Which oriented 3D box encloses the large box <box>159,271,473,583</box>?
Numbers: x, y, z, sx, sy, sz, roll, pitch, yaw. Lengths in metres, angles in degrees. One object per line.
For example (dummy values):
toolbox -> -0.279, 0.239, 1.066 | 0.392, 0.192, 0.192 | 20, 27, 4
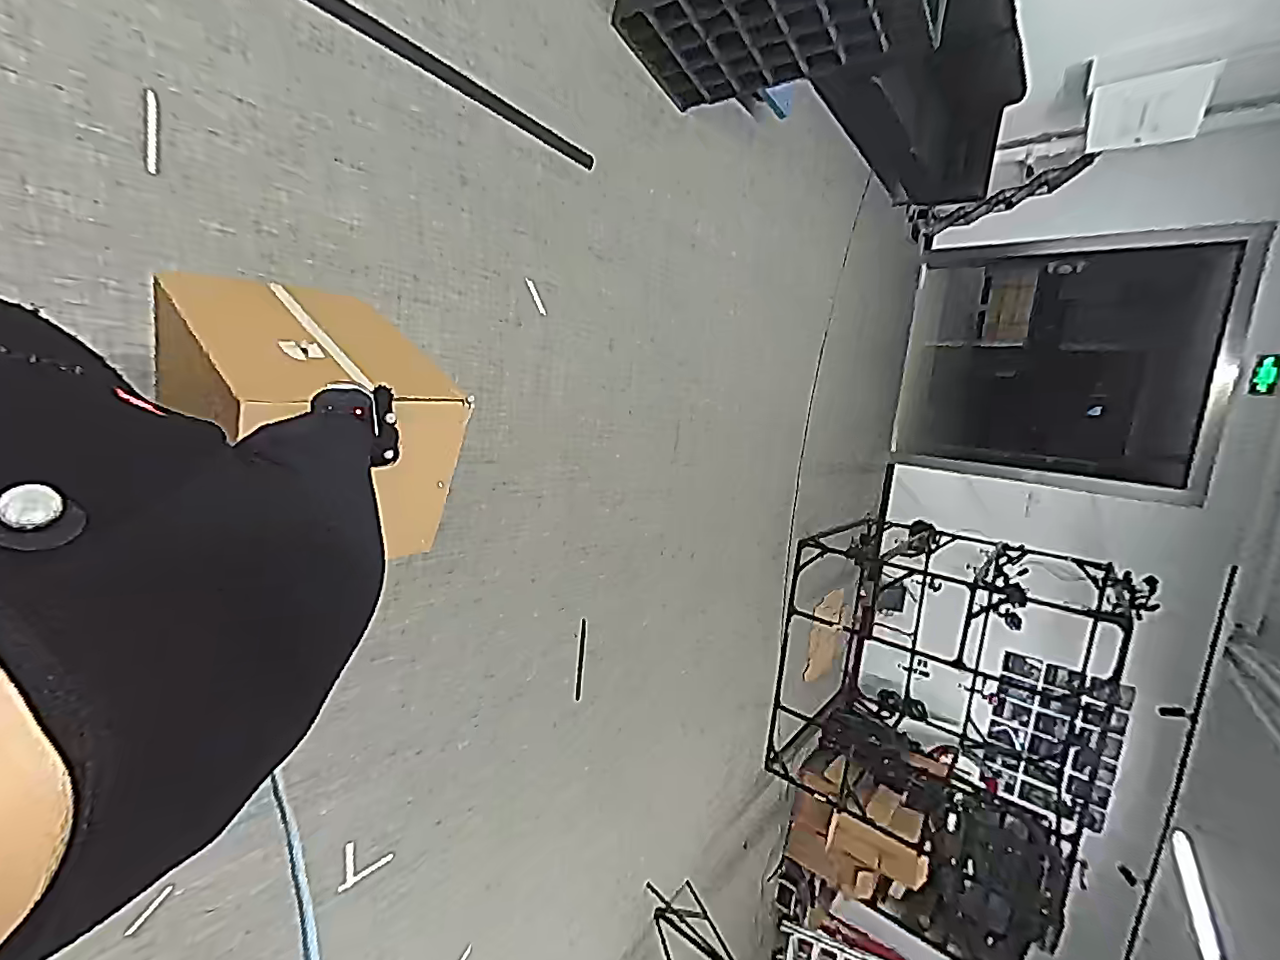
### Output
large box -> -0.558, -0.100, 0.913 | 0.320, 0.408, 0.320 | -12, 136, -50
